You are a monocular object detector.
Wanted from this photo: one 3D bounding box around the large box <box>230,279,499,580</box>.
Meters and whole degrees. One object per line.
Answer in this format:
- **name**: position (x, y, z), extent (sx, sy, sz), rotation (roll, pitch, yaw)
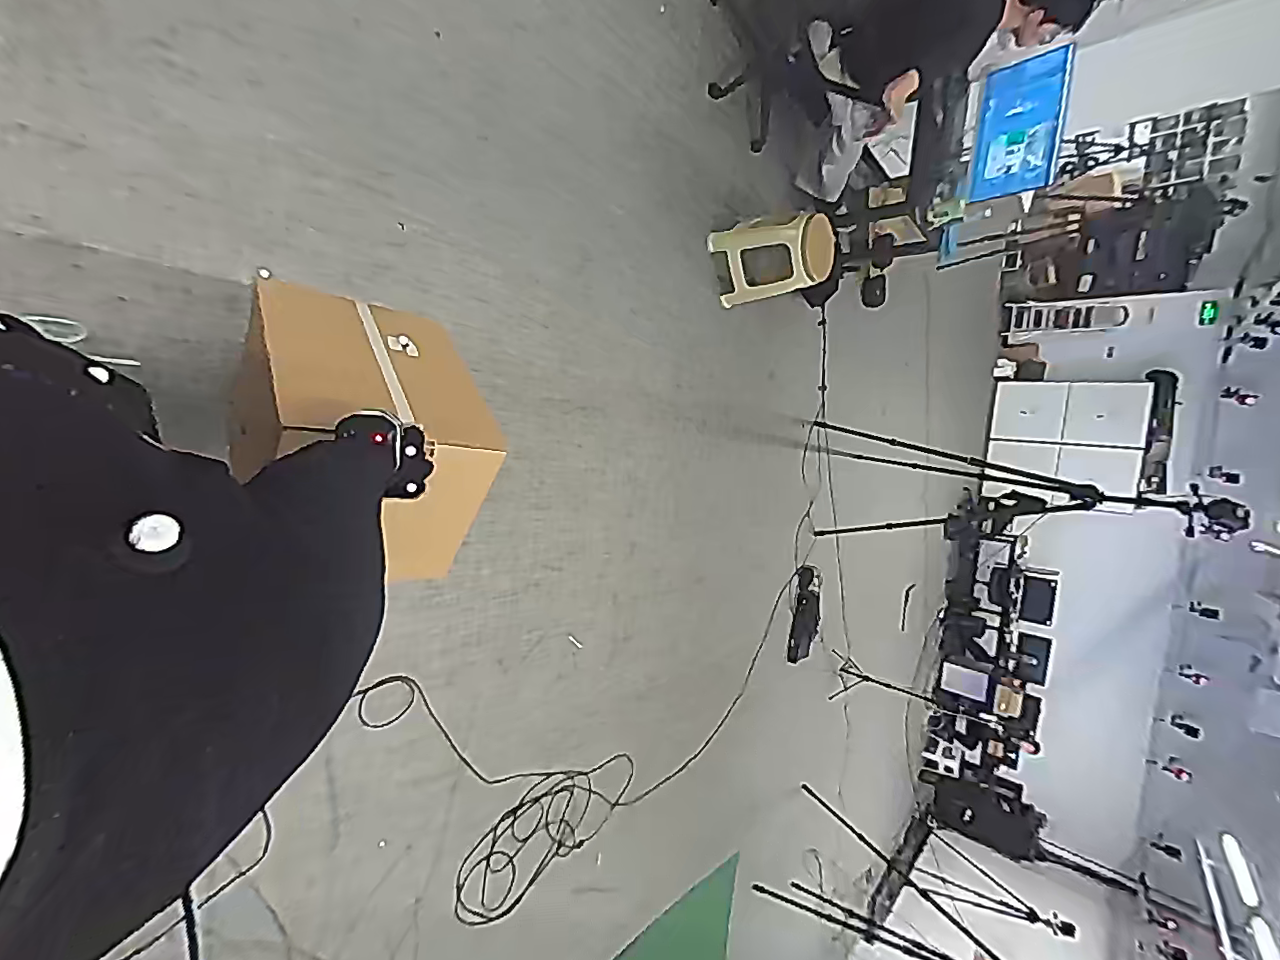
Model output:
- **large box**: position (-0.504, -0.081, 0.952), extent (0.320, 0.408, 0.320), rotation (6, 127, -44)
